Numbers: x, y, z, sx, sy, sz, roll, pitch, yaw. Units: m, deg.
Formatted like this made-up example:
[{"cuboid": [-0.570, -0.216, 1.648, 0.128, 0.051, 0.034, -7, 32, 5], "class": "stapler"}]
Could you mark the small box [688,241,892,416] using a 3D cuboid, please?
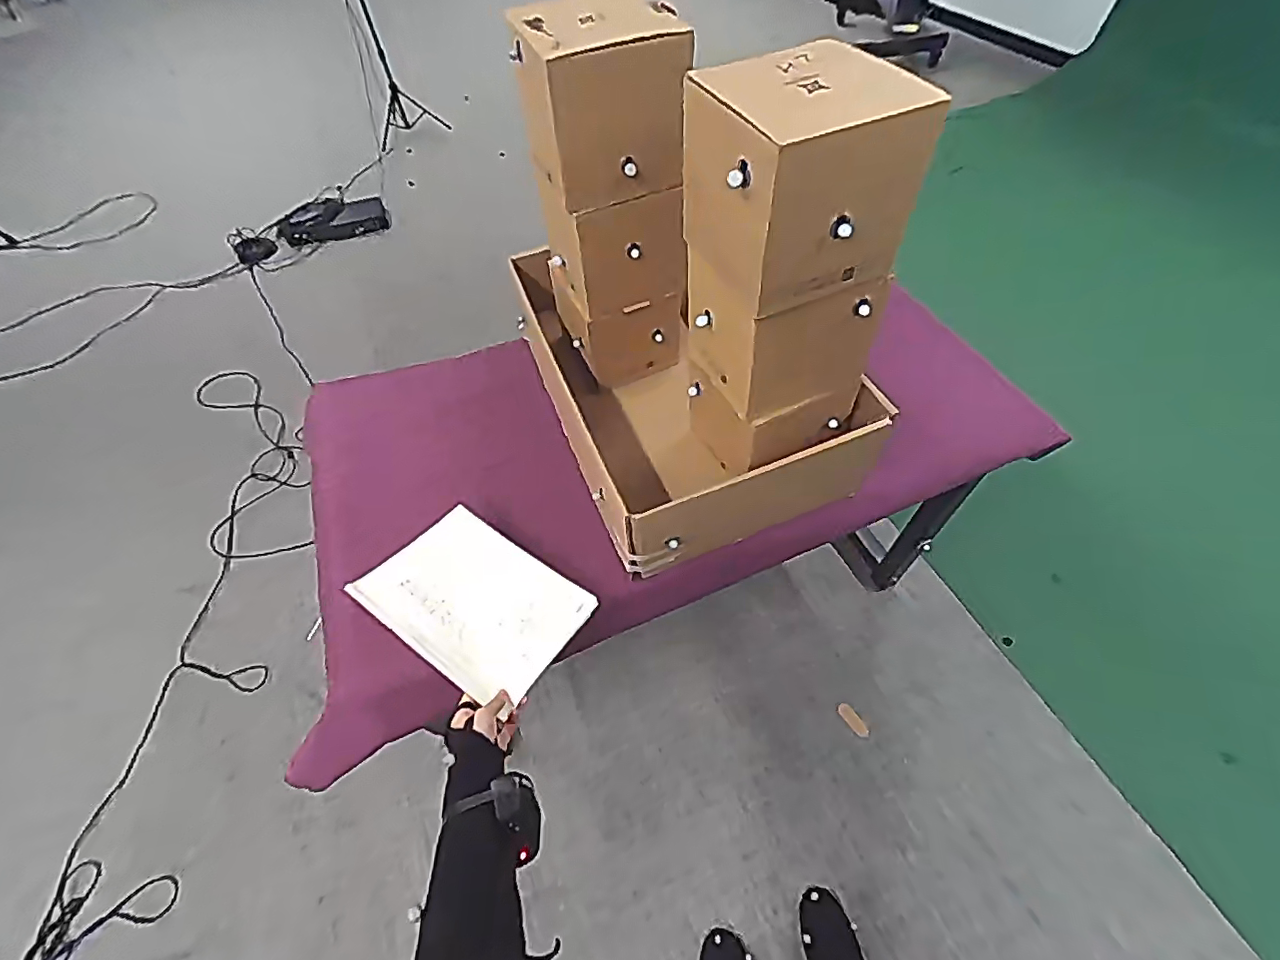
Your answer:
[{"cuboid": [0.172, -0.207, 0.678, 0.179, 0.176, 0.168, -20, 55, -10], "class": "small box"}]

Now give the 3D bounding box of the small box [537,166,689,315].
[{"cuboid": [-0.037, -0.382, 0.816, 0.179, 0.176, 0.168, -23, 58, -12], "class": "small box"}]

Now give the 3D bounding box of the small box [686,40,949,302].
[{"cuboid": [0.156, -0.301, 0.544, 0.168, 0.176, 0.179, -20, 55, -11], "class": "small box"}]

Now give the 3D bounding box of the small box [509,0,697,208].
[{"cuboid": [-0.046, -0.476, 0.682, 0.179, 0.176, 0.168, -20, 57, -12], "class": "small box"}]
